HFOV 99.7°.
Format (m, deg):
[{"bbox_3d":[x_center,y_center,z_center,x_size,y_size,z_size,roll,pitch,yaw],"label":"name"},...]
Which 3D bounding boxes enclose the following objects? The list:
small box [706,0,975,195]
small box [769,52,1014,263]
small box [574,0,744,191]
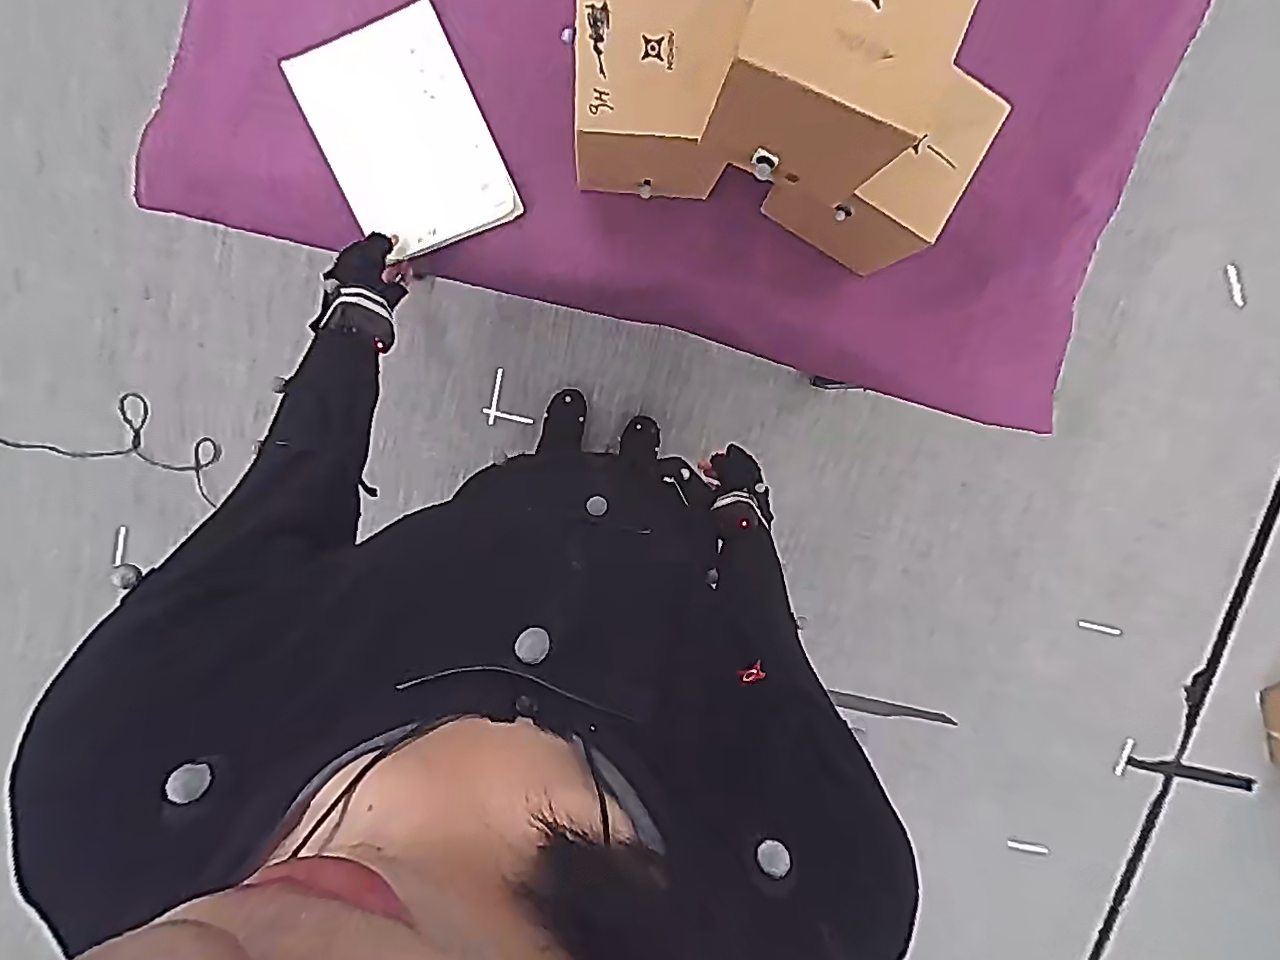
[{"bbox_3d":[0.170,-0.396,0.482,0.168,0.176,0.179,18,97,-6],"label":"small box"},{"bbox_3d":[0.283,-0.391,0.655,0.179,0.176,0.168,28,95,-8],"label":"small box"},{"bbox_3d":[0.014,-0.454,0.625,0.179,0.176,0.168,1,98,-6],"label":"small box"}]
